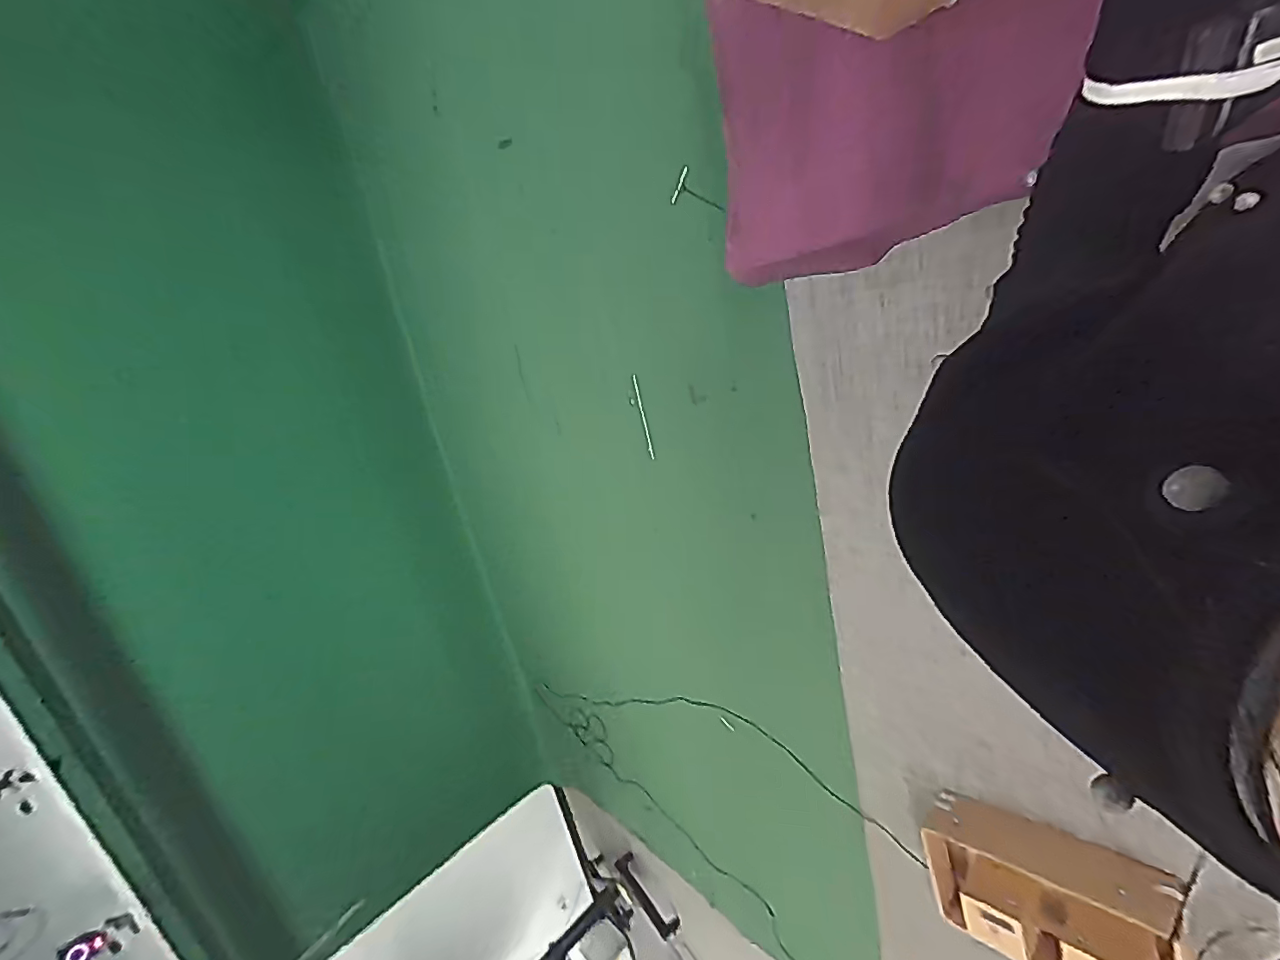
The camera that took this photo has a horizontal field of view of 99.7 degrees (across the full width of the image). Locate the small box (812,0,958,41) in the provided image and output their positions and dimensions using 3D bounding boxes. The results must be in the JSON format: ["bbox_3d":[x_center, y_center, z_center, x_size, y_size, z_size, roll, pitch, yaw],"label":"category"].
[{"bbox_3d":[0.275,-0.581,0.533,0.179,0.176,0.168,0,111,48],"label":"small box"}]

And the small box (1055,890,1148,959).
[{"bbox_3d":[1.314,1.327,1.534,0.179,0.176,0.168,-1,108,51],"label":"small box"}]
